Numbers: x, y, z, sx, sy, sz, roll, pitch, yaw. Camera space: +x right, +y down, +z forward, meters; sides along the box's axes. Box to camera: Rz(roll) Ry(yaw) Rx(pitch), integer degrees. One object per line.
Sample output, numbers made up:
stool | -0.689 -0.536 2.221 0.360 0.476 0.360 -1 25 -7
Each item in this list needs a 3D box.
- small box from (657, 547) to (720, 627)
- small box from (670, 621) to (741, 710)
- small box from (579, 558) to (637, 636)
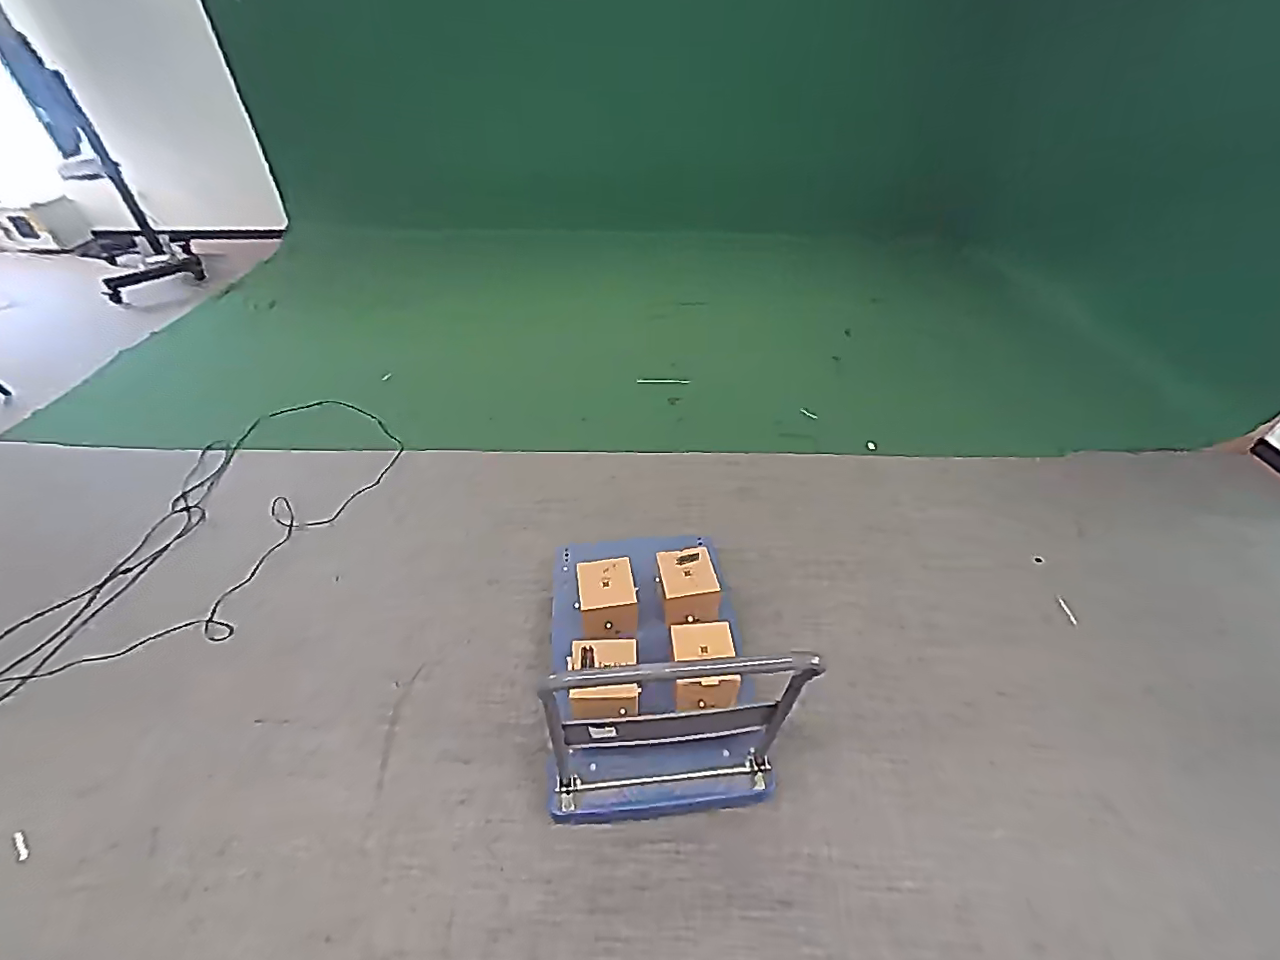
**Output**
small box | 0.149 0.341 1.725 0.168 0.176 0.179 -7 44 -6
small box | 0.177 0.524 1.527 0.168 0.176 0.179 -3 43 -4
small box | -0.100 0.371 1.694 0.168 0.176 0.179 -6 42 -7
